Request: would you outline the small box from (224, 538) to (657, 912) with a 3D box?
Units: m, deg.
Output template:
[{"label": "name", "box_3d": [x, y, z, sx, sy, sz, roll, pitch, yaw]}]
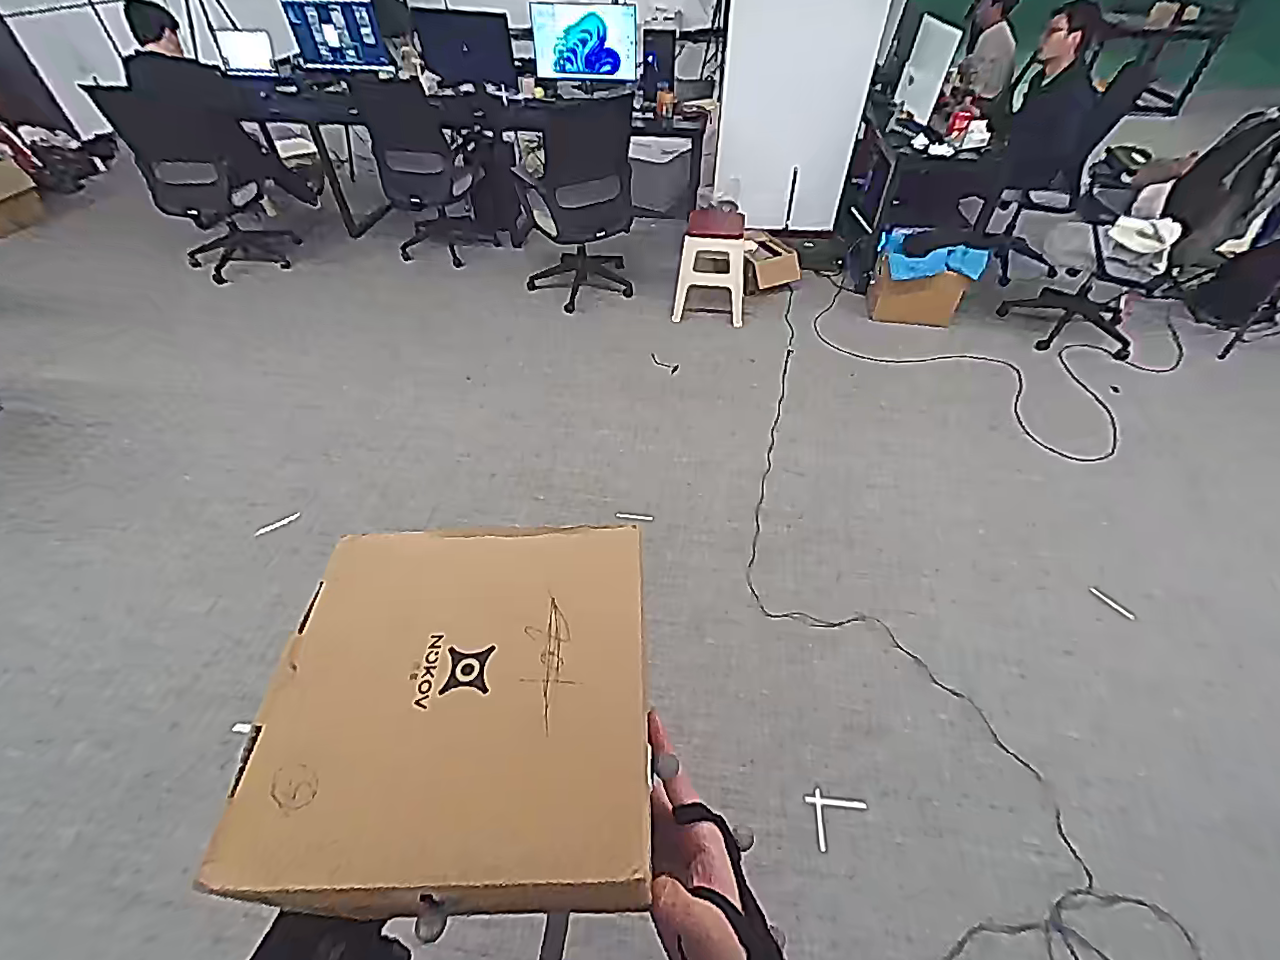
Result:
[{"label": "small box", "box_3d": [-0.080, 0.151, 0.327, 0.179, 0.176, 0.168, -2, 49, 0]}]
